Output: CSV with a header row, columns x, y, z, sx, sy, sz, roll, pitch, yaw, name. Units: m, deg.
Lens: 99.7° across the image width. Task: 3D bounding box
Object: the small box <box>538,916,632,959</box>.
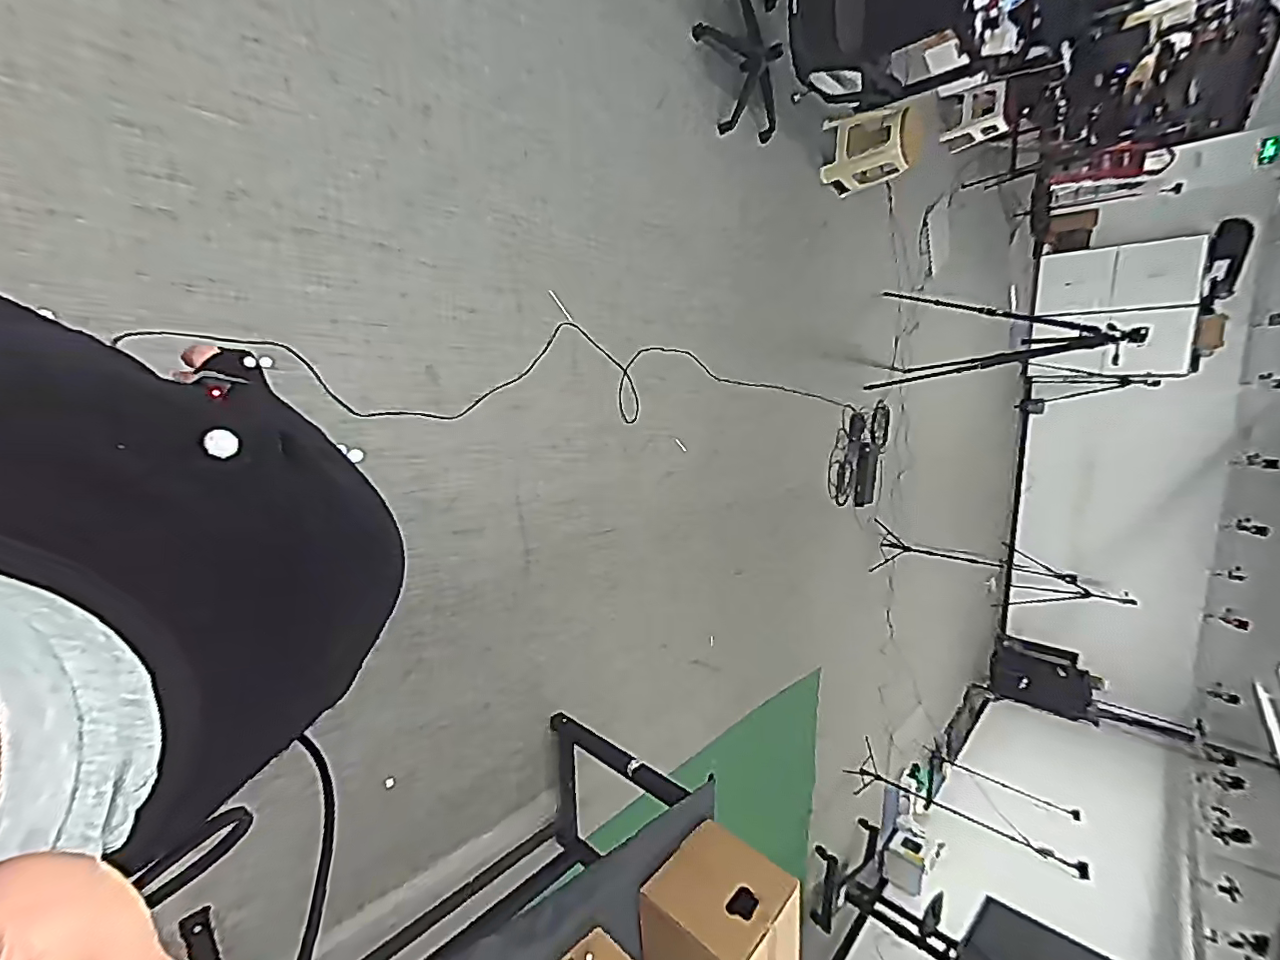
x,y,z,sx,sy,sz,roll,pitch,yaw,name
-0.132,1.203,1.277,0.168,0.176,0.179,-6,102,-47,small box
